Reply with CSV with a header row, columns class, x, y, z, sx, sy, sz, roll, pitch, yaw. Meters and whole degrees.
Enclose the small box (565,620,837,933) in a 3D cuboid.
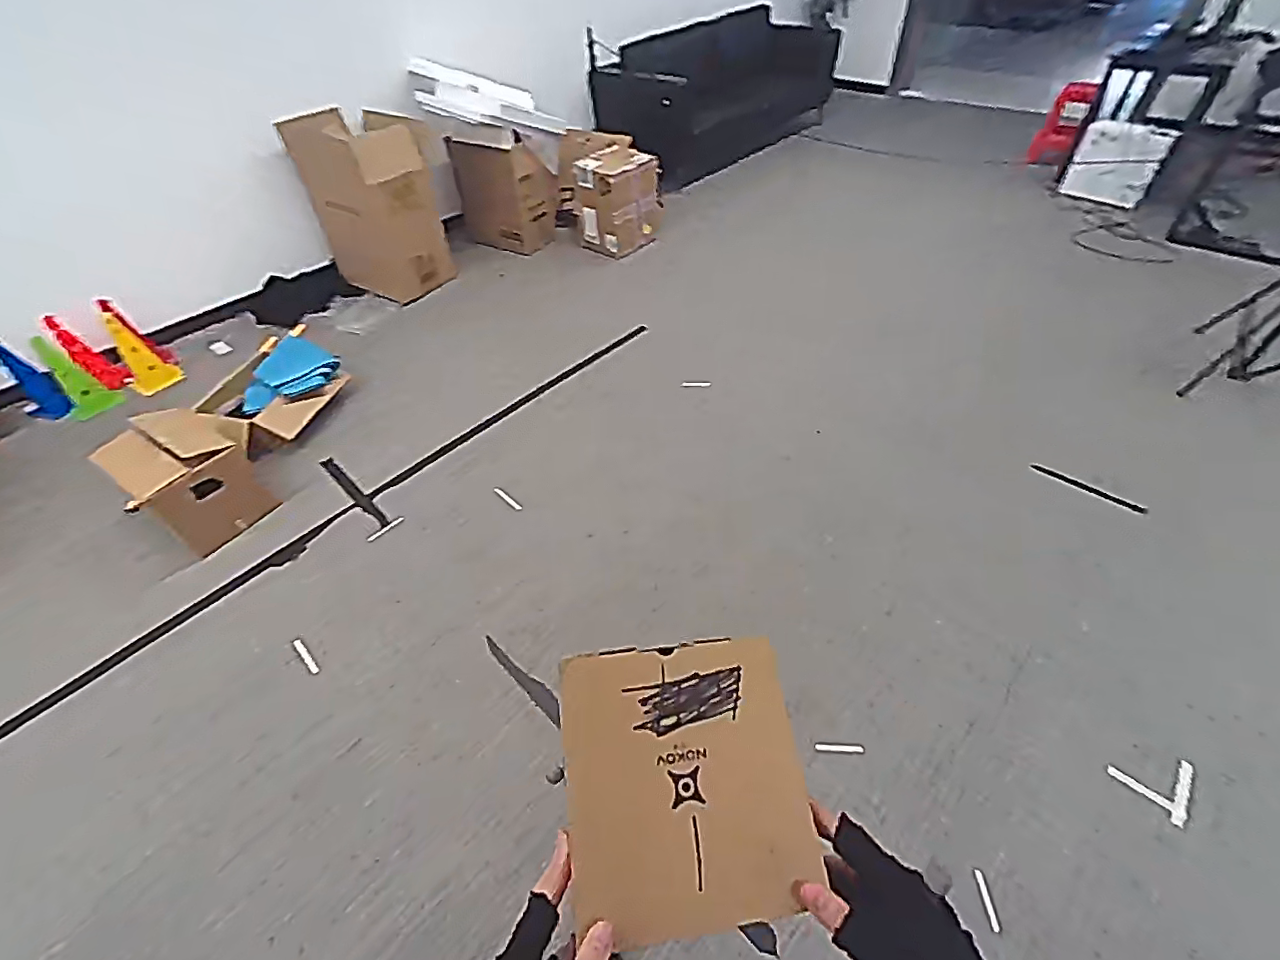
class,x,y,z,sx,sy,sz,roll,pitch,yaw
small box,0.026,0.228,0.438,0.168,0.176,0.179,-3,61,-9
